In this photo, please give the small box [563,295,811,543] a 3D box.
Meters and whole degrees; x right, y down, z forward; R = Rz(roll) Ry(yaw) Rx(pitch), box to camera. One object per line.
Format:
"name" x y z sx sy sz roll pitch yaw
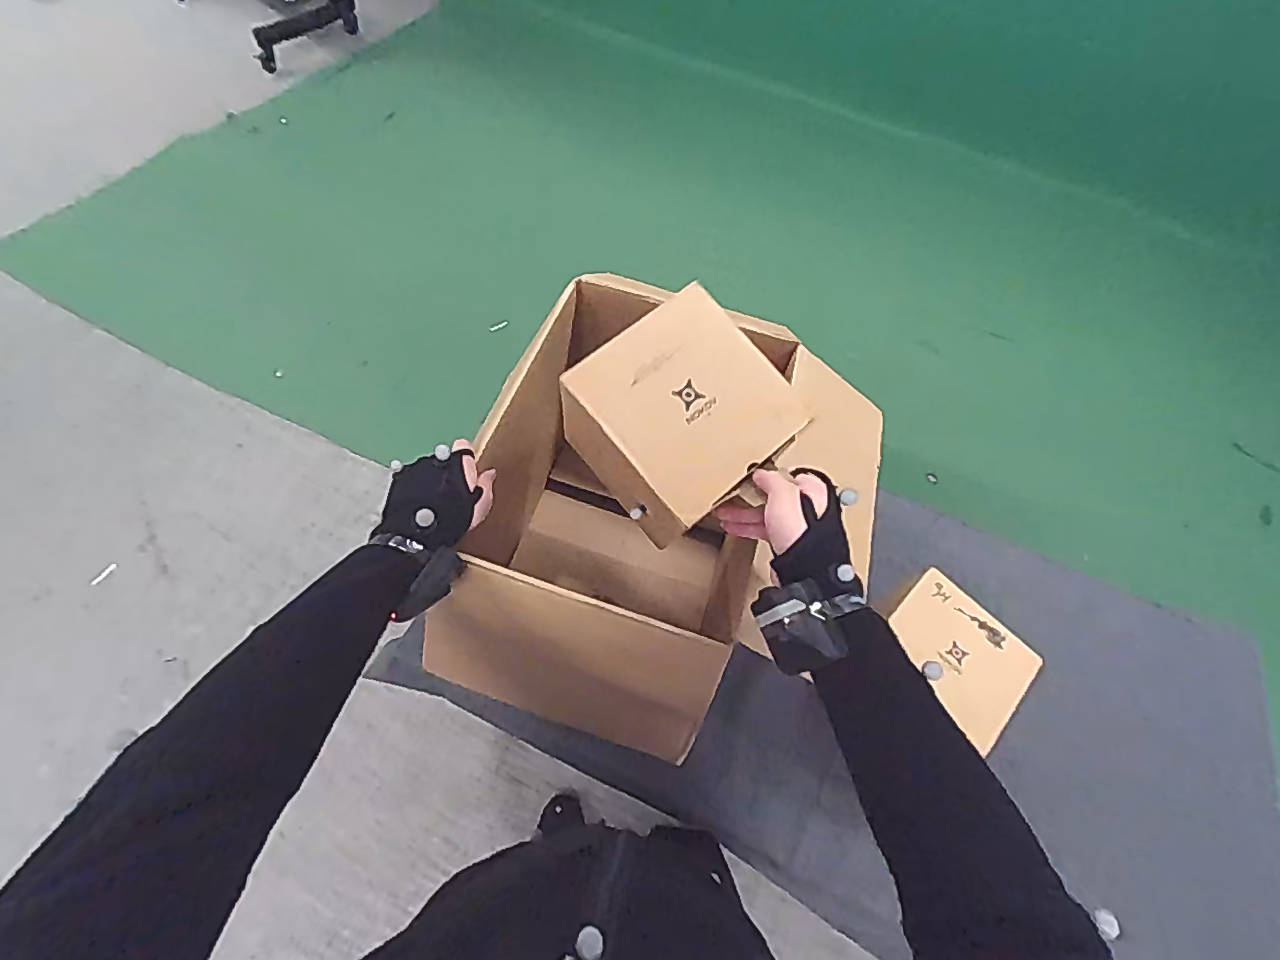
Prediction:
"small box" 0.039 -0.049 0.574 0.168 0.176 0.179 -40 81 -14
